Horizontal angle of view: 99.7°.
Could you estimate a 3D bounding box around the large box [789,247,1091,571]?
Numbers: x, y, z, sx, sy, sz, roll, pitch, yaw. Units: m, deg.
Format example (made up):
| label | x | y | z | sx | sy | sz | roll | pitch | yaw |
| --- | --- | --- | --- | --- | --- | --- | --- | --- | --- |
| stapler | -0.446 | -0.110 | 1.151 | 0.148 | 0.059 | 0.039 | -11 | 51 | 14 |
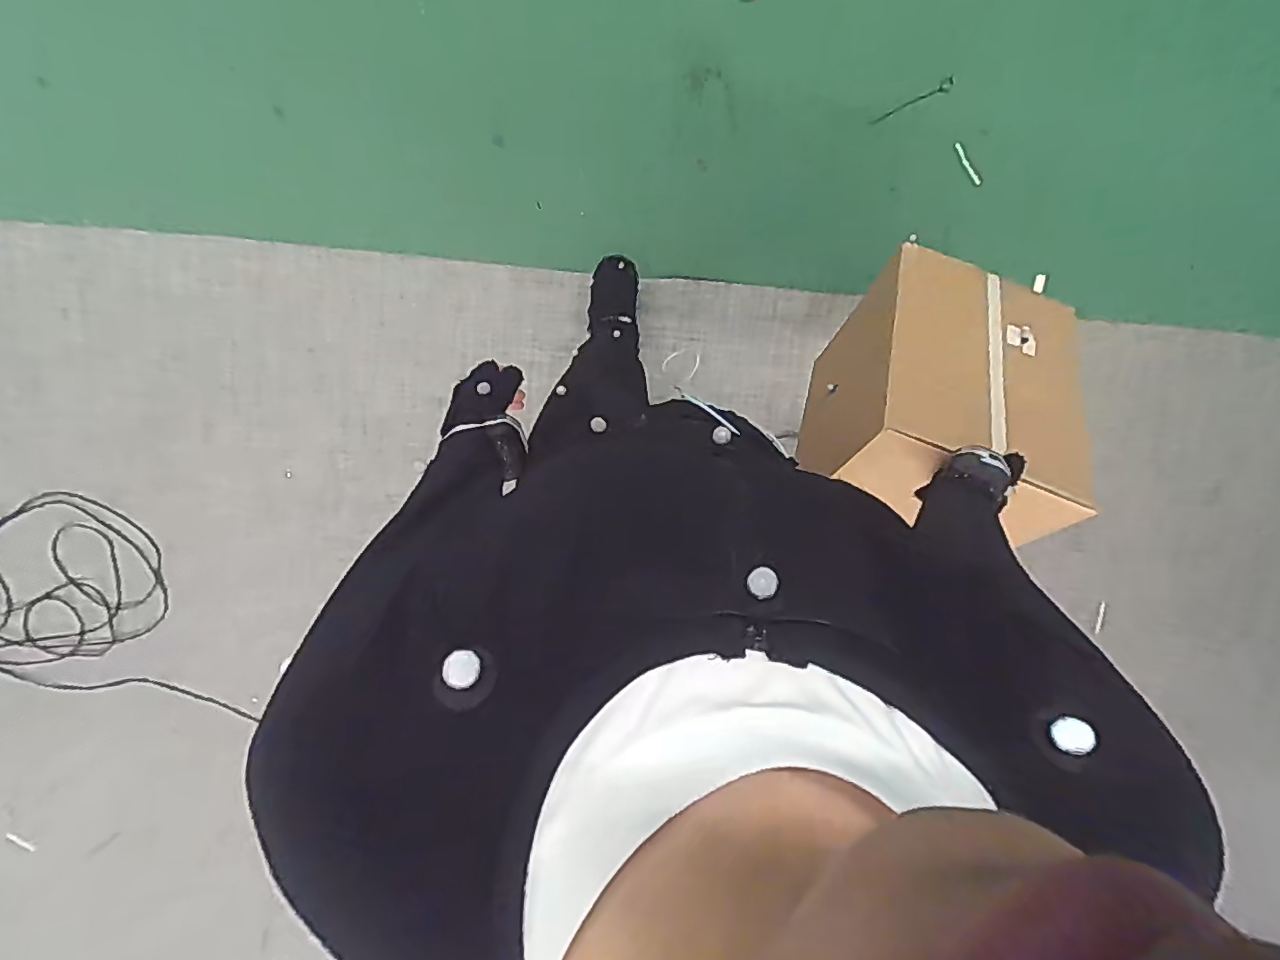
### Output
| label | x | y | z | sx | sy | sz | roll | pitch | yaw |
| --- | --- | --- | --- | --- | --- | --- | --- | --- | --- |
| large box | 0.489 | -0.110 | 0.943 | 0.320 | 0.320 | 0.408 | 22 | 61 | -2 |
